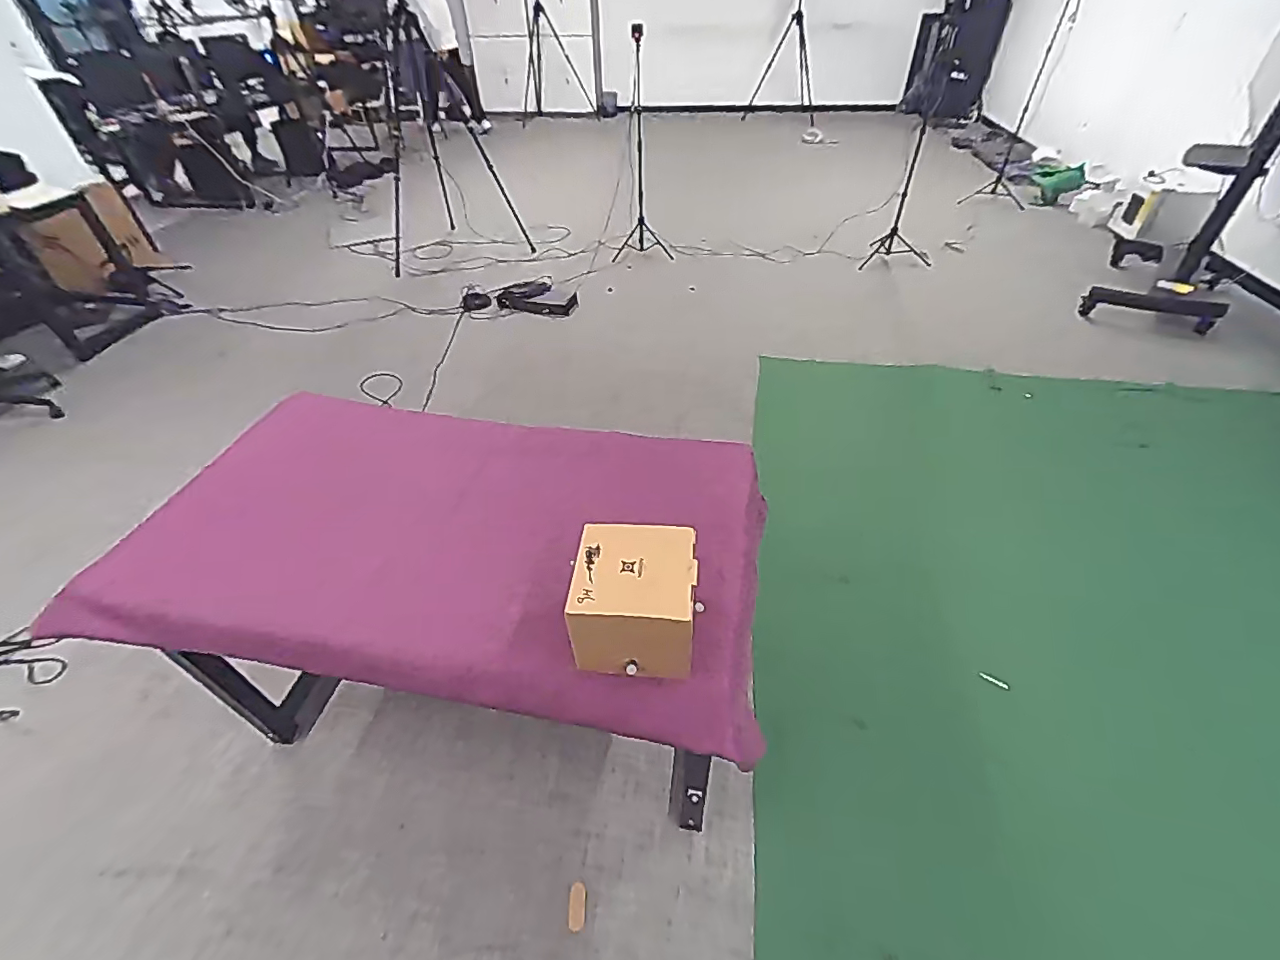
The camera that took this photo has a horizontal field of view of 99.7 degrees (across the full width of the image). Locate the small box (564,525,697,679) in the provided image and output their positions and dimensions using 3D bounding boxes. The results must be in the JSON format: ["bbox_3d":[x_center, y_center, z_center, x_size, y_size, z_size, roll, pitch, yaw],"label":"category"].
[{"bbox_3d":[-0.006,0.190,0.834,0.179,0.176,0.168,3,43,6],"label":"small box"}]
